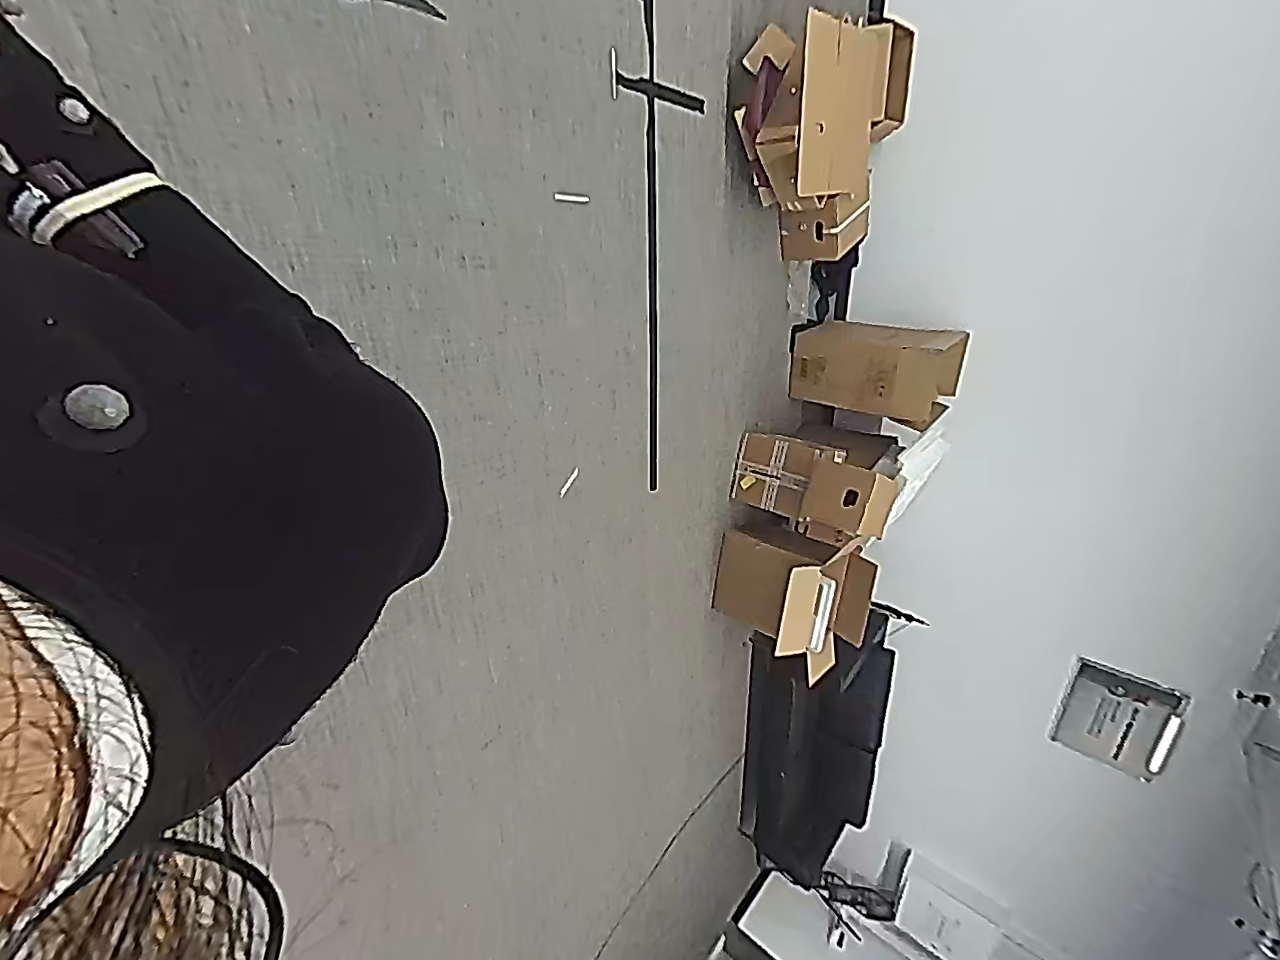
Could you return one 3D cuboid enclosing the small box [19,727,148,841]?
[{"bbox_3d":[-1.184,0.682,1.168,0.179,0.176,0.168,-25,122,-45],"label":"small box"}]

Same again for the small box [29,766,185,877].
[{"bbox_3d":[-1.054,0.715,1.073,0.179,0.176,0.168,-22,120,-46],"label":"small box"}]

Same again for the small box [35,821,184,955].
[{"bbox_3d":[-0.935,0.759,0.970,0.168,0.176,0.179,-23,120,-46],"label":"small box"}]

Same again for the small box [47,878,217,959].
[{"bbox_3d":[-0.807,0.799,0.874,0.168,0.176,0.179,-24,123,-45],"label":"small box"}]

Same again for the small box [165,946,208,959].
[{"bbox_3d":[-0.685,0.838,0.776,0.168,0.176,0.179,-27,123,-45],"label":"small box"}]
